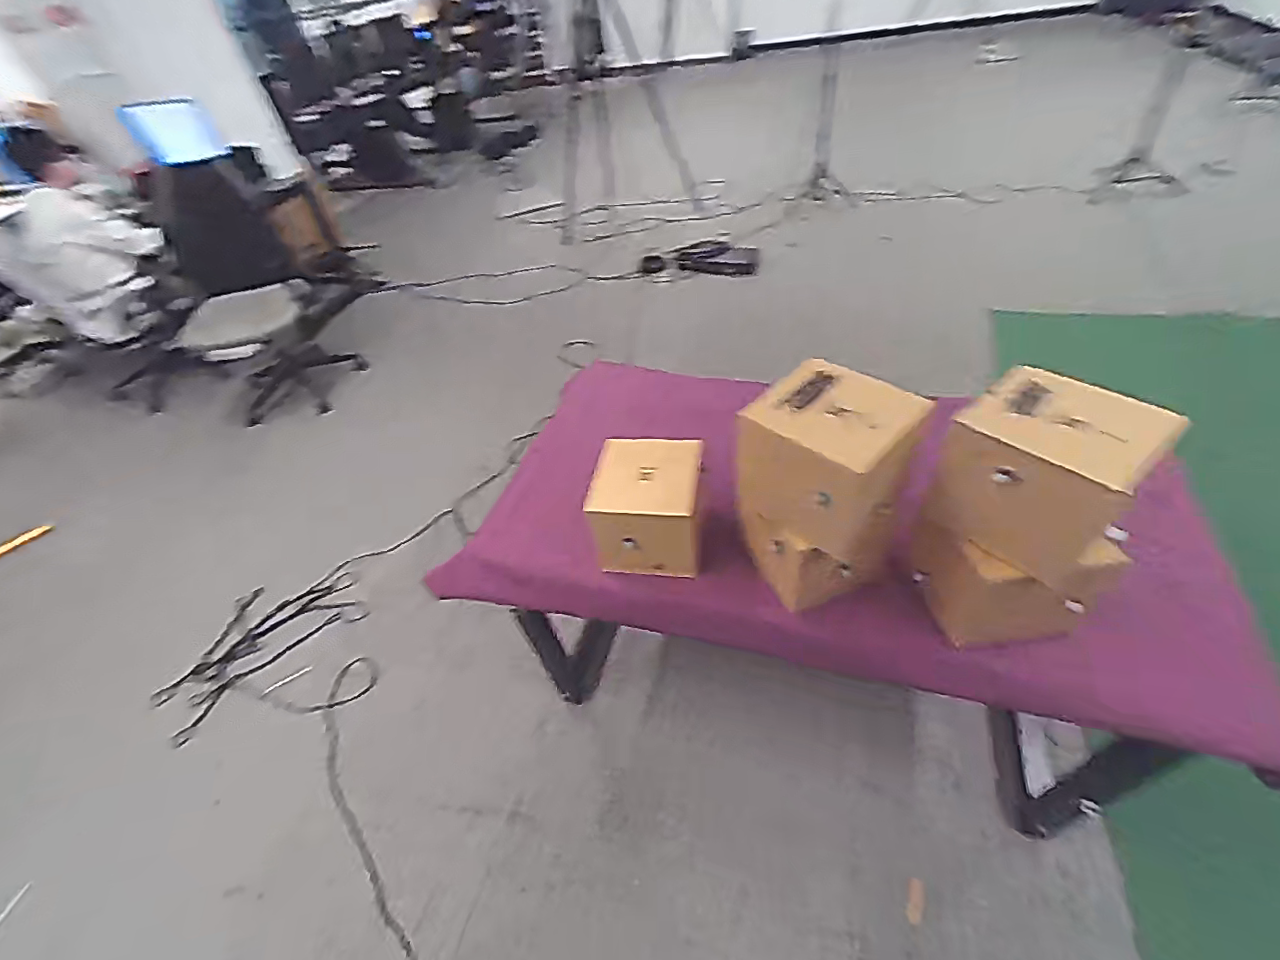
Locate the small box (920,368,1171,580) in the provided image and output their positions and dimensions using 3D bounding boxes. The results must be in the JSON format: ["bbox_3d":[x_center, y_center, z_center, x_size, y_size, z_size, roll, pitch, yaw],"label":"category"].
[{"bbox_3d":[0.489,-0.009,0.680,0.168,0.176,0.179,-32,48,-23],"label":"small box"}]

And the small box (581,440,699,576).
[{"bbox_3d":[0.011,0.050,0.939,0.168,0.176,0.179,2,45,12],"label":"small box"}]

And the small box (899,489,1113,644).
[{"bbox_3d":[0.508,0.116,0.785,0.179,0.176,0.168,-9,43,2],"label":"small box"}]

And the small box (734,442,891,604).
[{"bbox_3d":[0.264,0.075,0.866,0.168,0.176,0.179,-20,45,-11],"label":"small box"}]
